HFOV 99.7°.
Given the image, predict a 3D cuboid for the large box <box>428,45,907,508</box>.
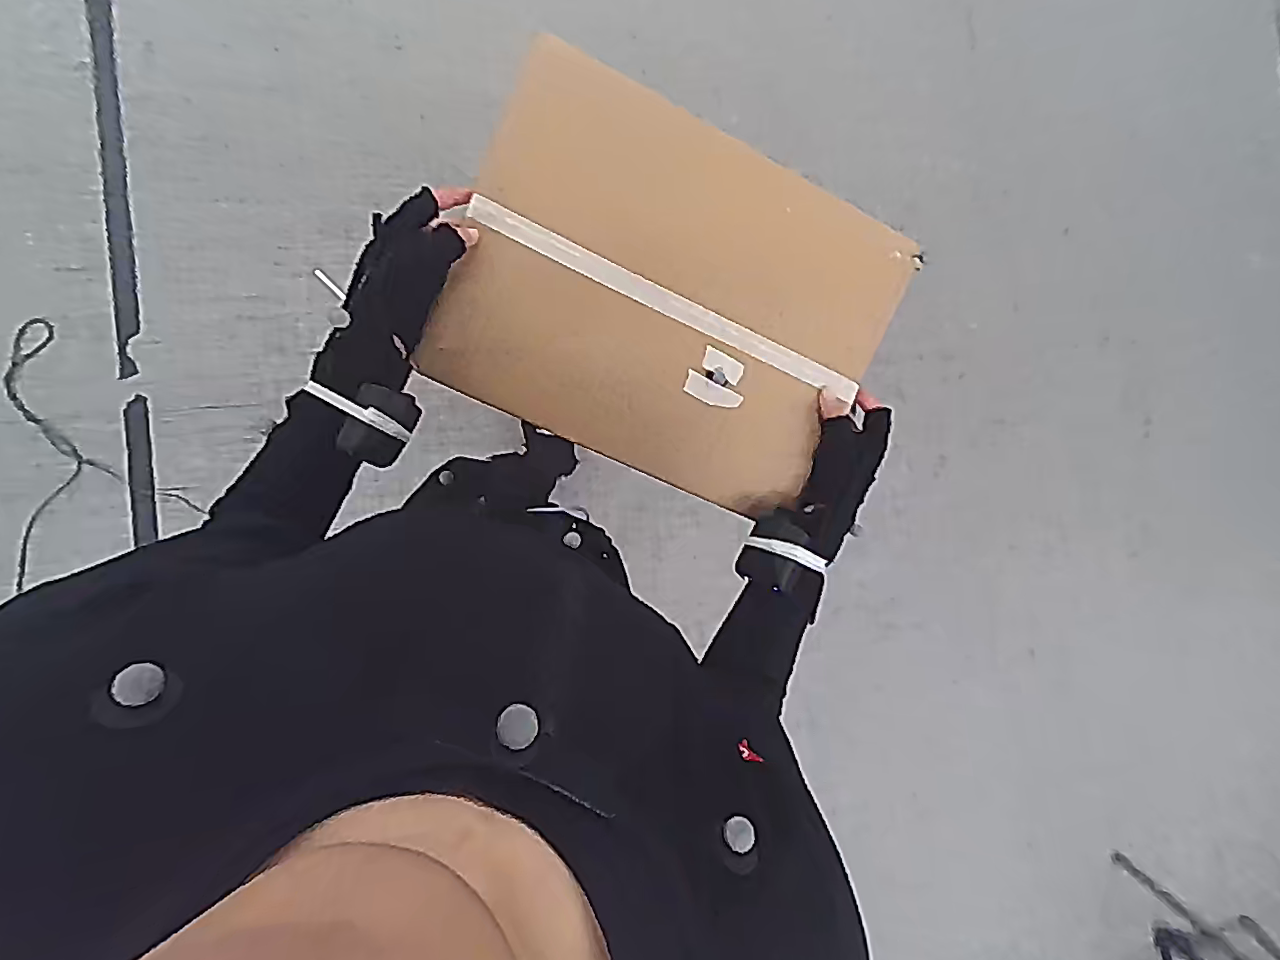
[{"bbox_3d":[0.016,-0.205,0.677,0.408,0.320,0.320,23,97,-10],"label":"large box"}]
